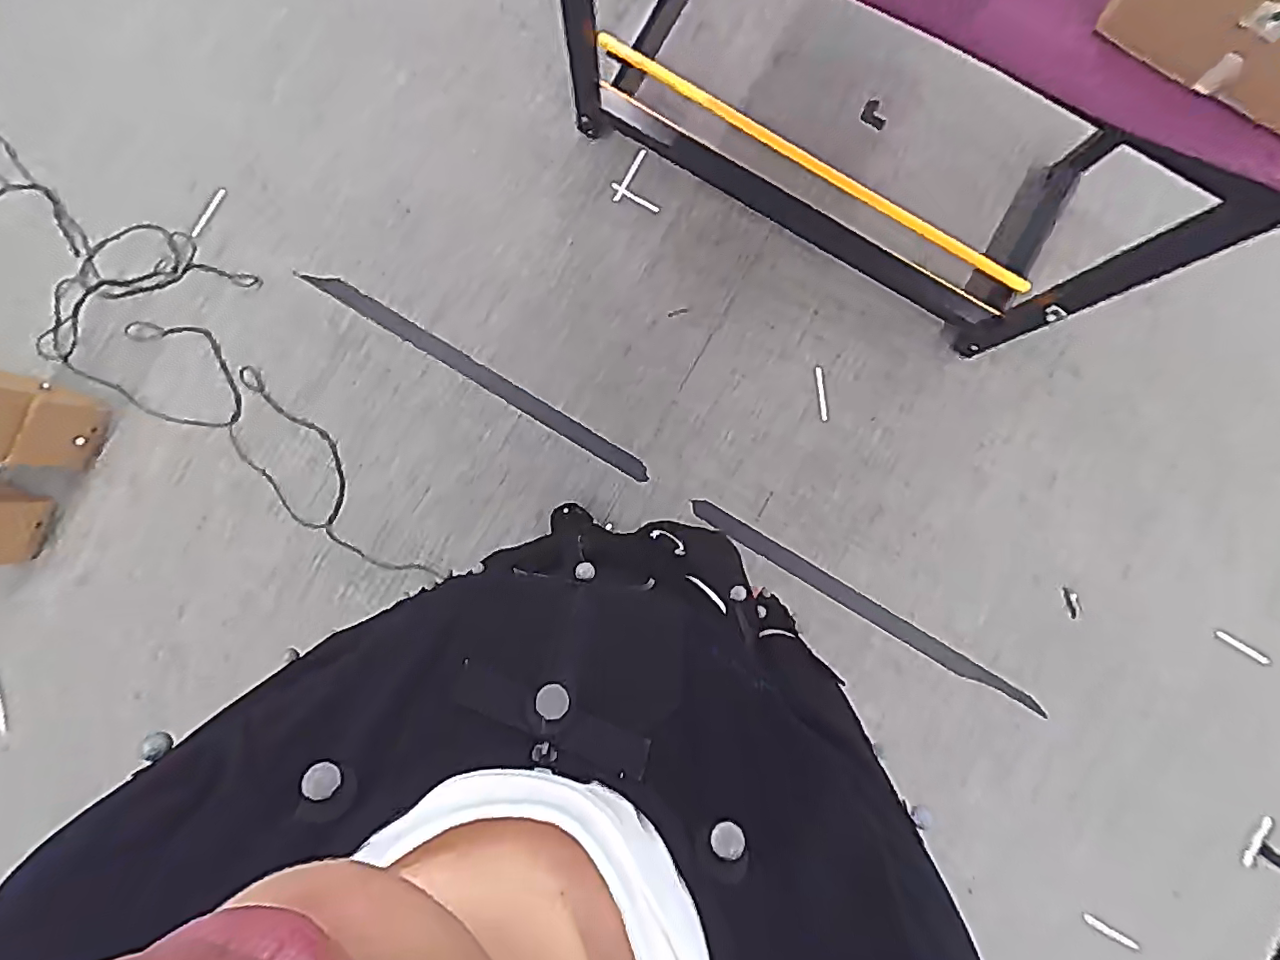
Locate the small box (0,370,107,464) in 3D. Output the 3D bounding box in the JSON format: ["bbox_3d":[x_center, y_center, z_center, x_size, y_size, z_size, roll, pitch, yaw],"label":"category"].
[{"bbox_3d":[-1.429,-0.143,1.259,0.179,0.176,0.168,26,89,-1],"label":"small box"}]

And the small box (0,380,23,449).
[{"bbox_3d":[-1.435,-0.151,1.094,0.168,0.176,0.179,24,89,0],"label":"small box"}]
